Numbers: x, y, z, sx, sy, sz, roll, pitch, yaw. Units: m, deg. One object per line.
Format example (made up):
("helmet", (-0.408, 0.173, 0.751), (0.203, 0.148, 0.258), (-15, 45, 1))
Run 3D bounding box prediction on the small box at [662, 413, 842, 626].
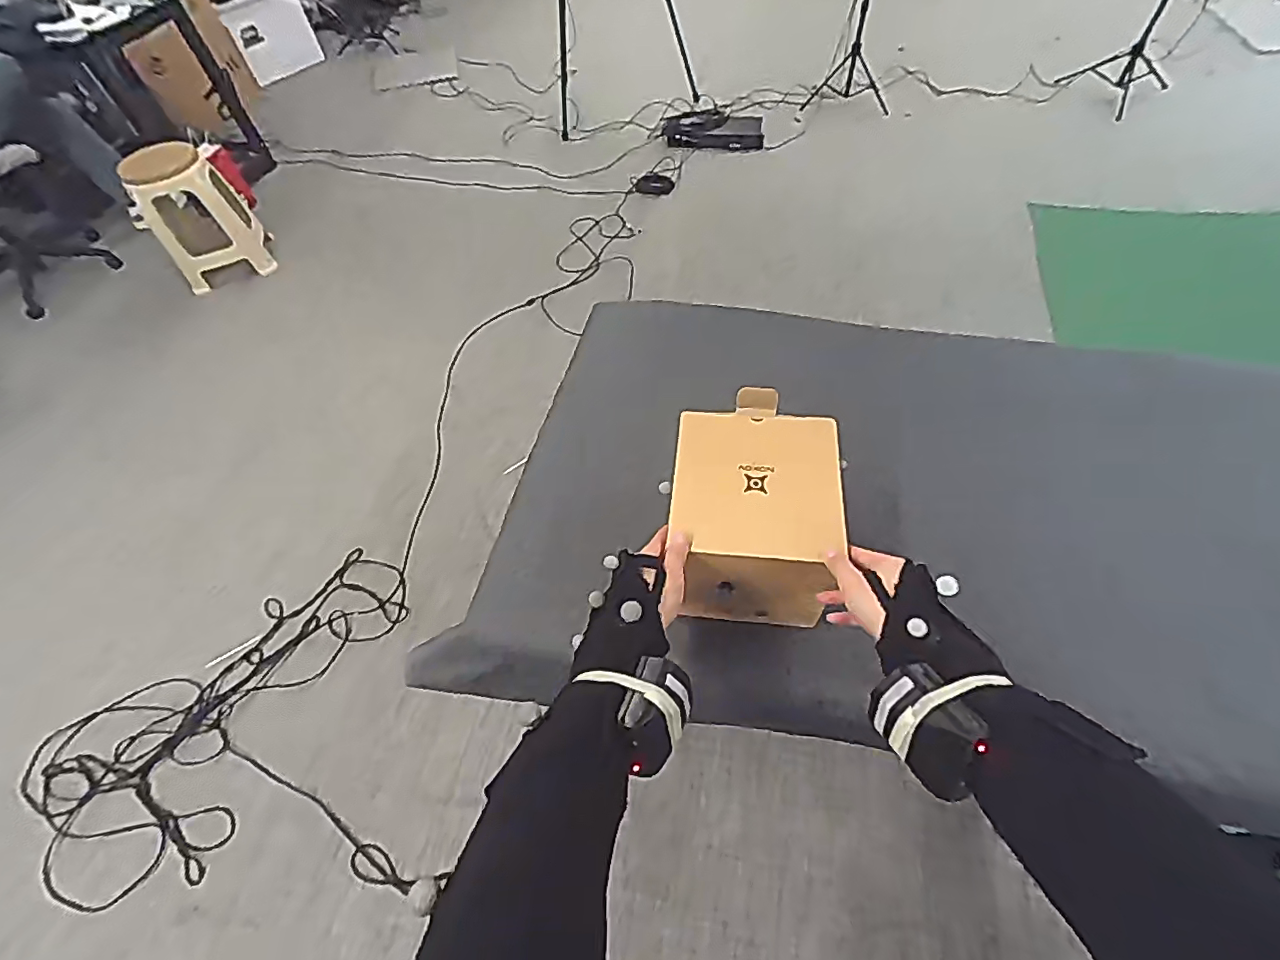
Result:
("small box", (0.118, 0.048, 0.601), (0.168, 0.176, 0.179), (4, 55, 7))
